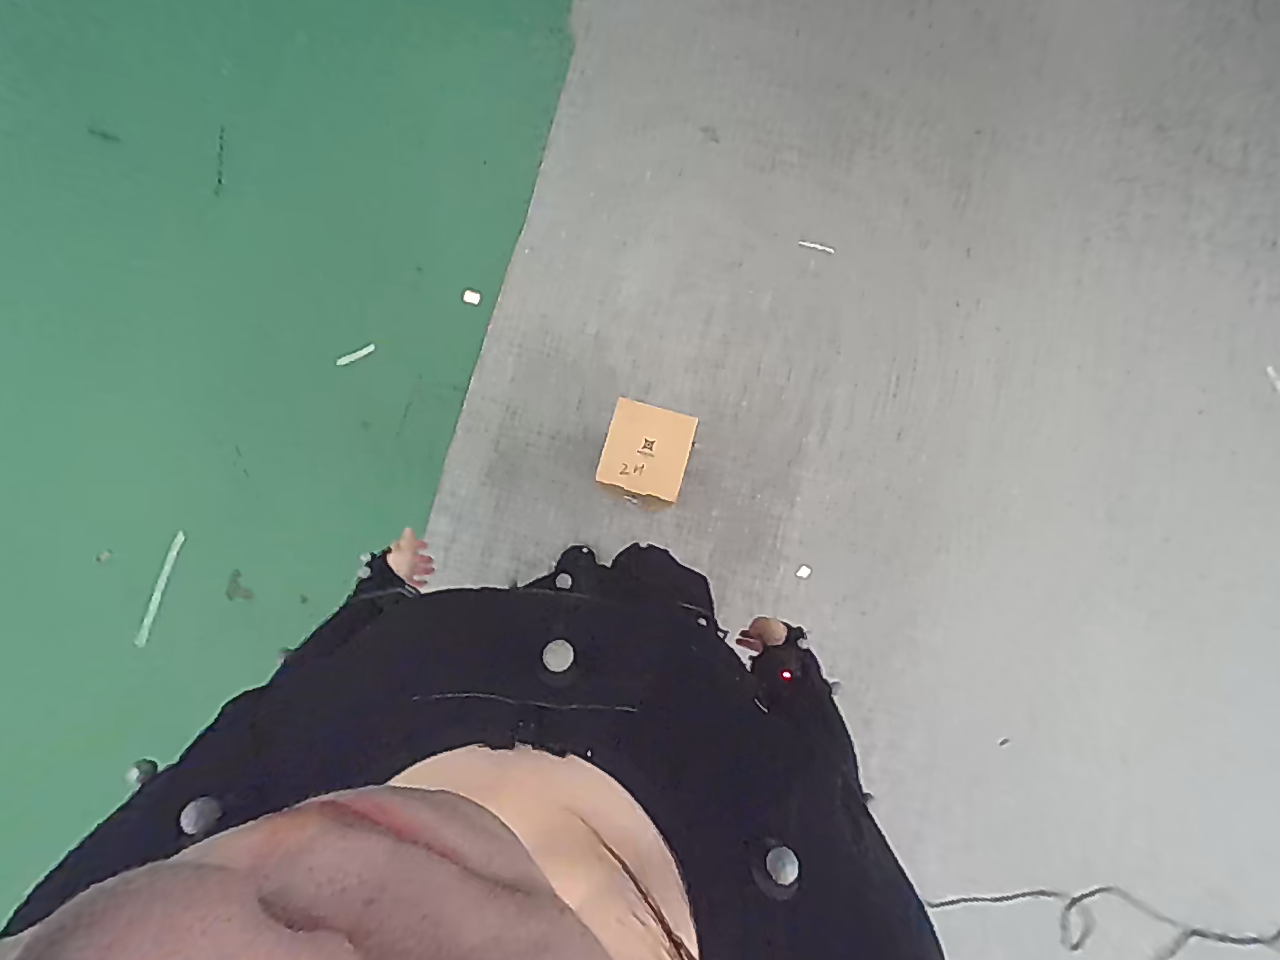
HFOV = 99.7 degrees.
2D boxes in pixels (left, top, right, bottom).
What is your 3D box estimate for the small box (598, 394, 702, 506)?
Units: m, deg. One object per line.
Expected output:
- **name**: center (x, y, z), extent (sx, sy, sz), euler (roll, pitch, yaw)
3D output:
- **small box**: center (0.019, -0.054, 1.122), extent (0.168, 0.176, 0.179), euler (16, 84, 3)
